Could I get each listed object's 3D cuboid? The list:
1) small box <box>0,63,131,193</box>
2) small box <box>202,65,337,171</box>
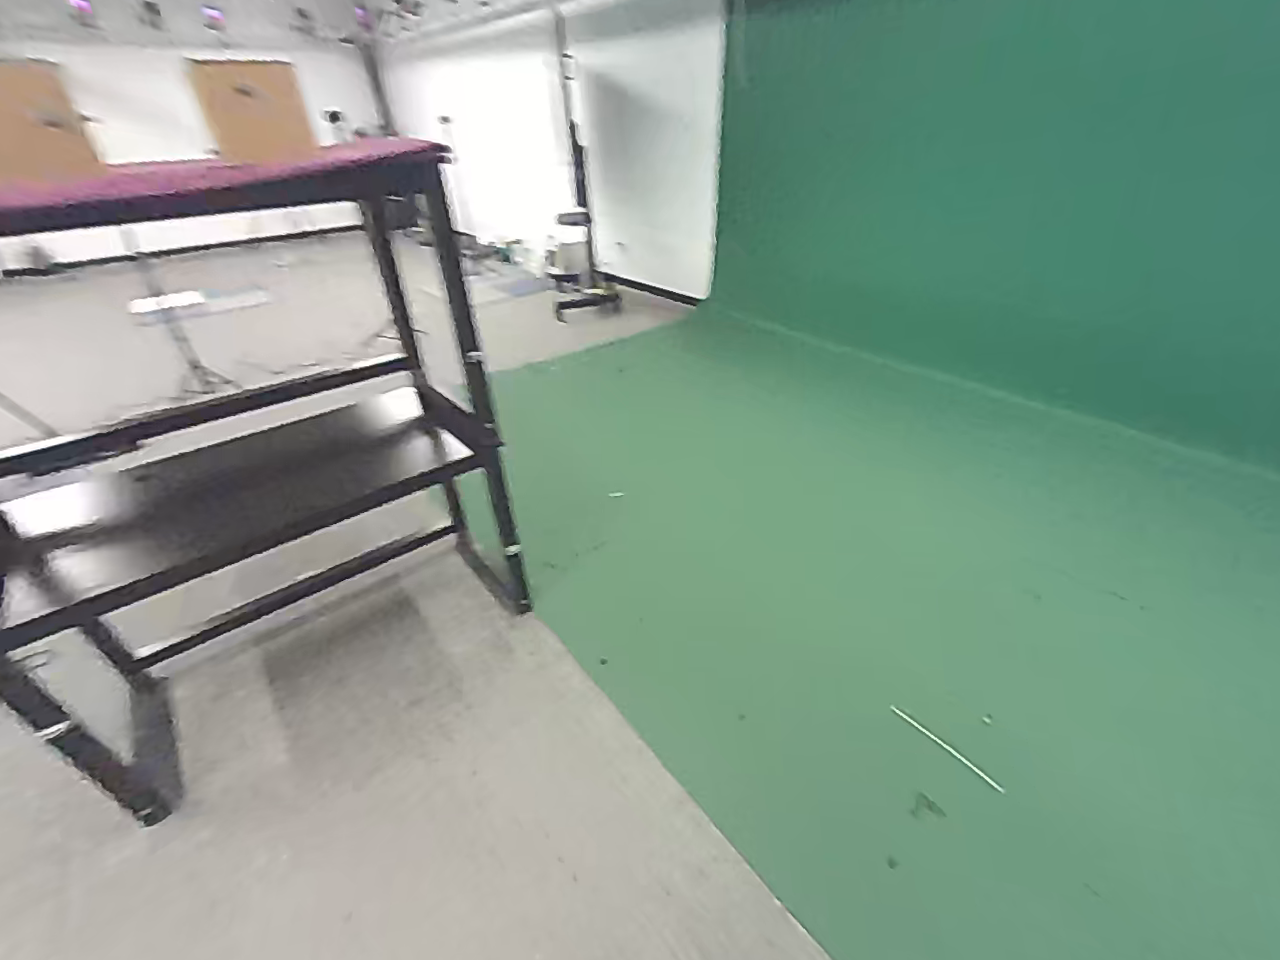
[{"bbox_3d":[-1.014,-0.598,0.921,0.179,0.176,0.168,-27,41,-31],"label":"small box"},{"bbox_3d":[-0.759,-0.737,1.114,0.179,0.176,0.168,-24,37,-30],"label":"small box"}]
